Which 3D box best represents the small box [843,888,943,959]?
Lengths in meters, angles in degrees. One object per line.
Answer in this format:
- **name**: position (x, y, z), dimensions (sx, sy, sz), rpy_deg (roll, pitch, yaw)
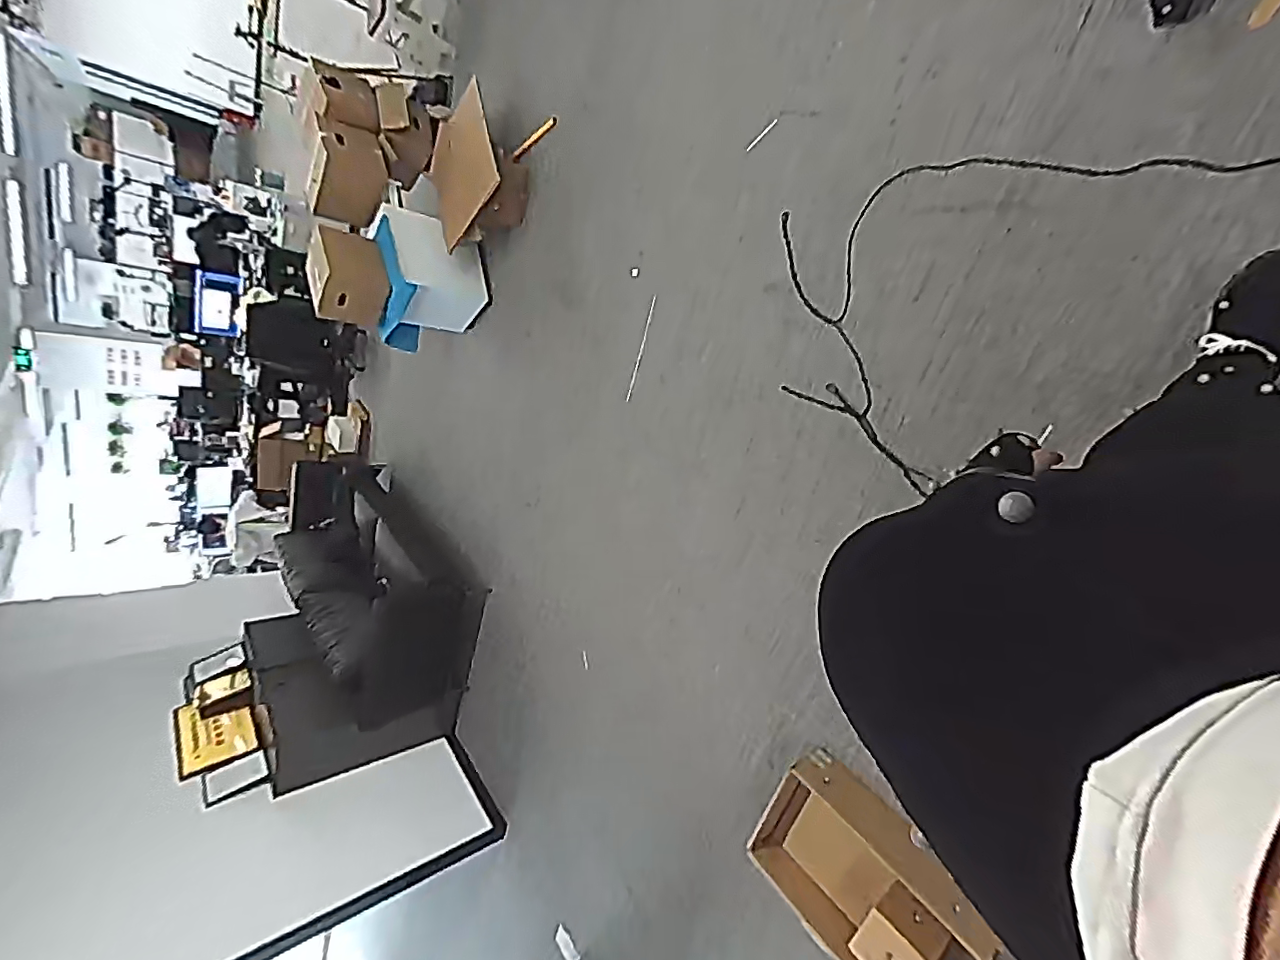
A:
- **small box**: position (0.699, 1.280, 1.483), dimensions (0.168, 0.176, 0.179), rpy_deg (36, 116, 42)
